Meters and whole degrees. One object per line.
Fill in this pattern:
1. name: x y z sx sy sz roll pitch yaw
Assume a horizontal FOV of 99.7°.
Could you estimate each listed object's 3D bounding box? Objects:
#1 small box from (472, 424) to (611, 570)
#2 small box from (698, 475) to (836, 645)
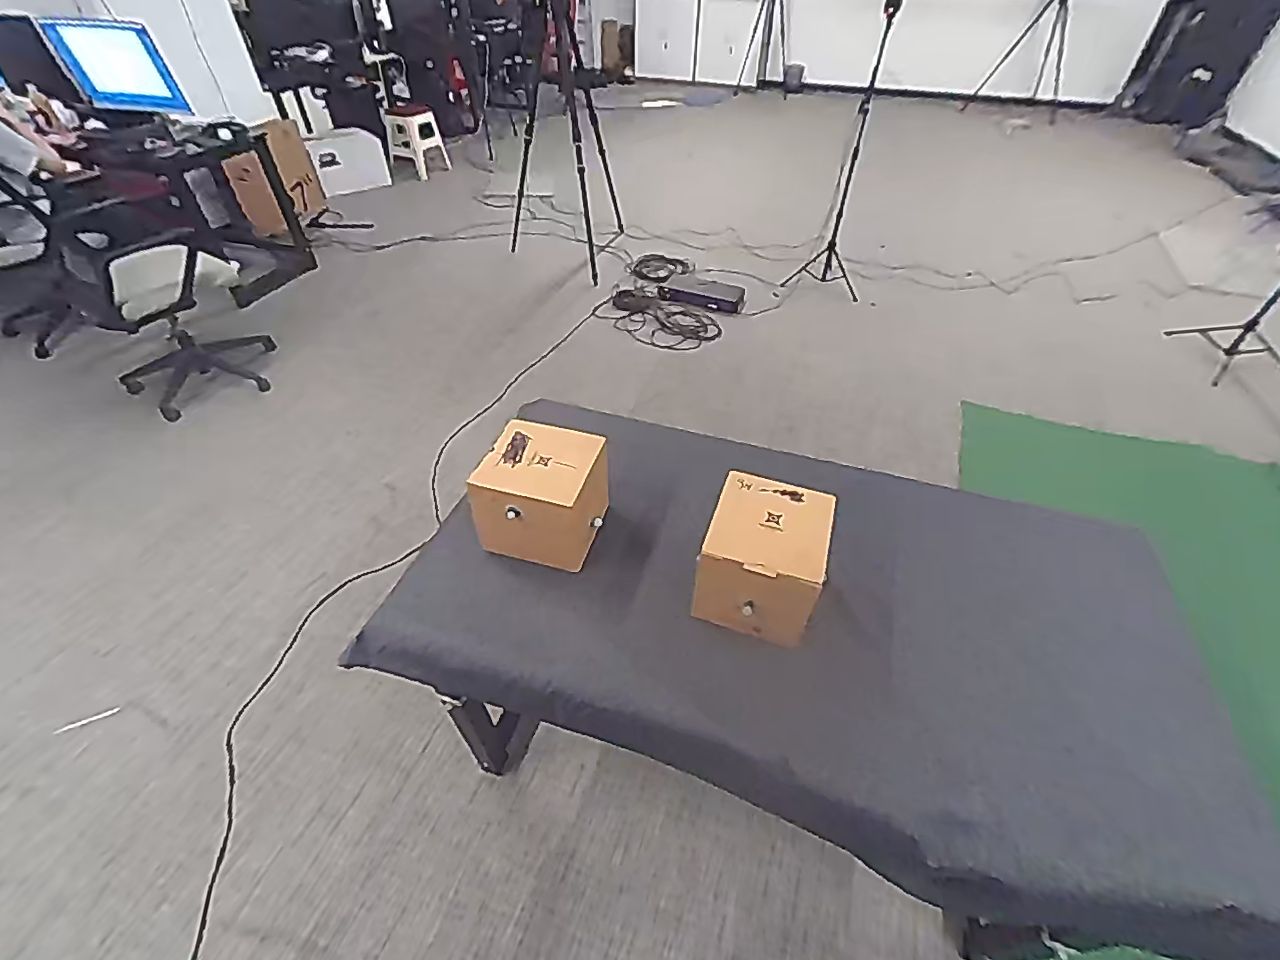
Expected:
1. small box: -0.157 0.032 0.924 0.179 0.176 0.168 12 46 10
2. small box: 0.190 0.125 0.834 0.168 0.176 0.179 15 47 14
